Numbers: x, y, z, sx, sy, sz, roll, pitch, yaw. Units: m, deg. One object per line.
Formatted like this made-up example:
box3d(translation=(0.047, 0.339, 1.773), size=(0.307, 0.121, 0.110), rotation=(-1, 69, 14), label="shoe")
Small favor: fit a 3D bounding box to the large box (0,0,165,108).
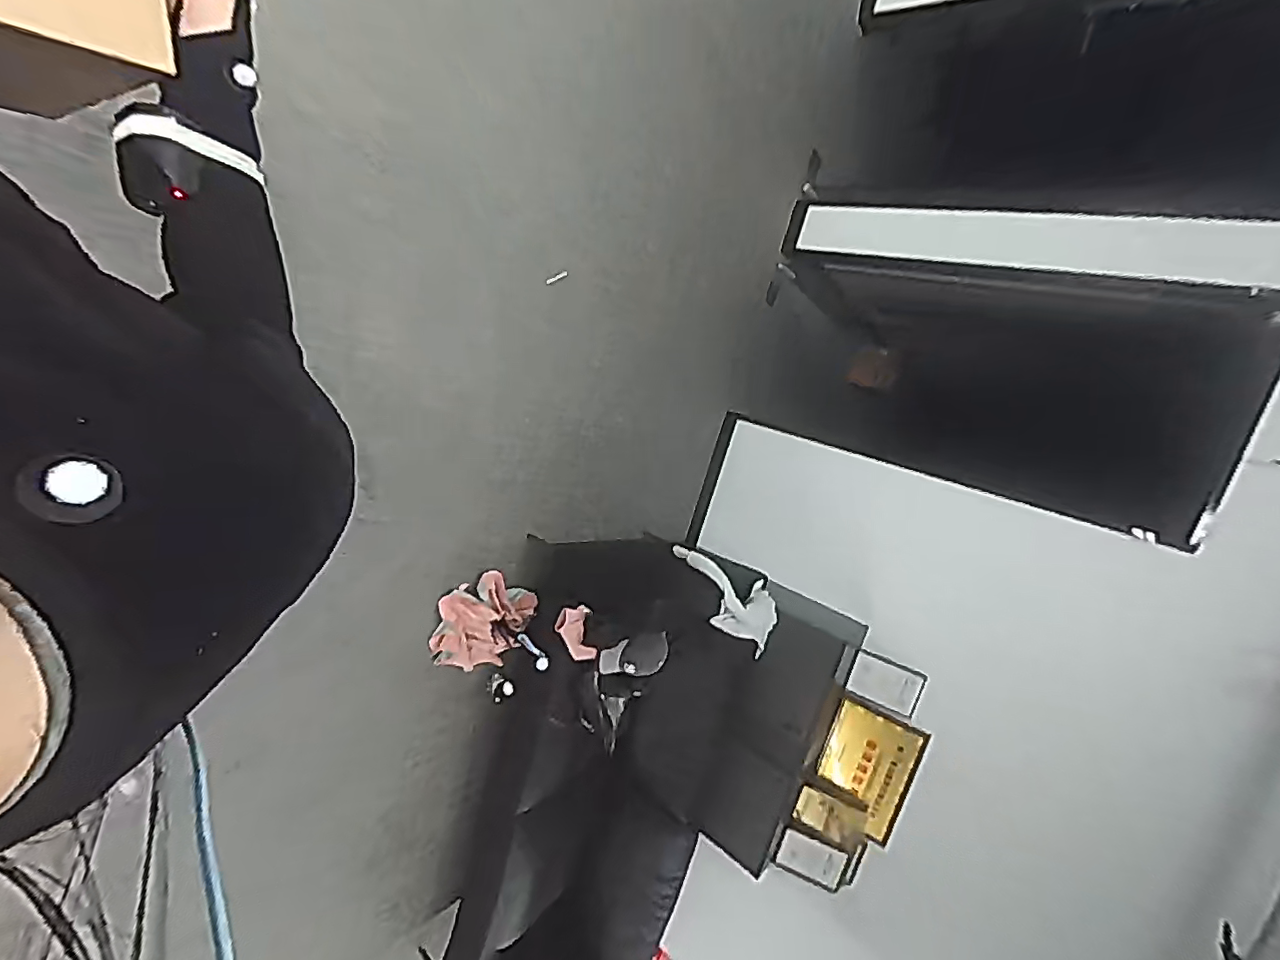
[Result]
box3d(translation=(-0.577, -0.436, 0.276), size=(0.408, 0.320, 0.320), rotation=(-22, 121, -52), label="large box")
